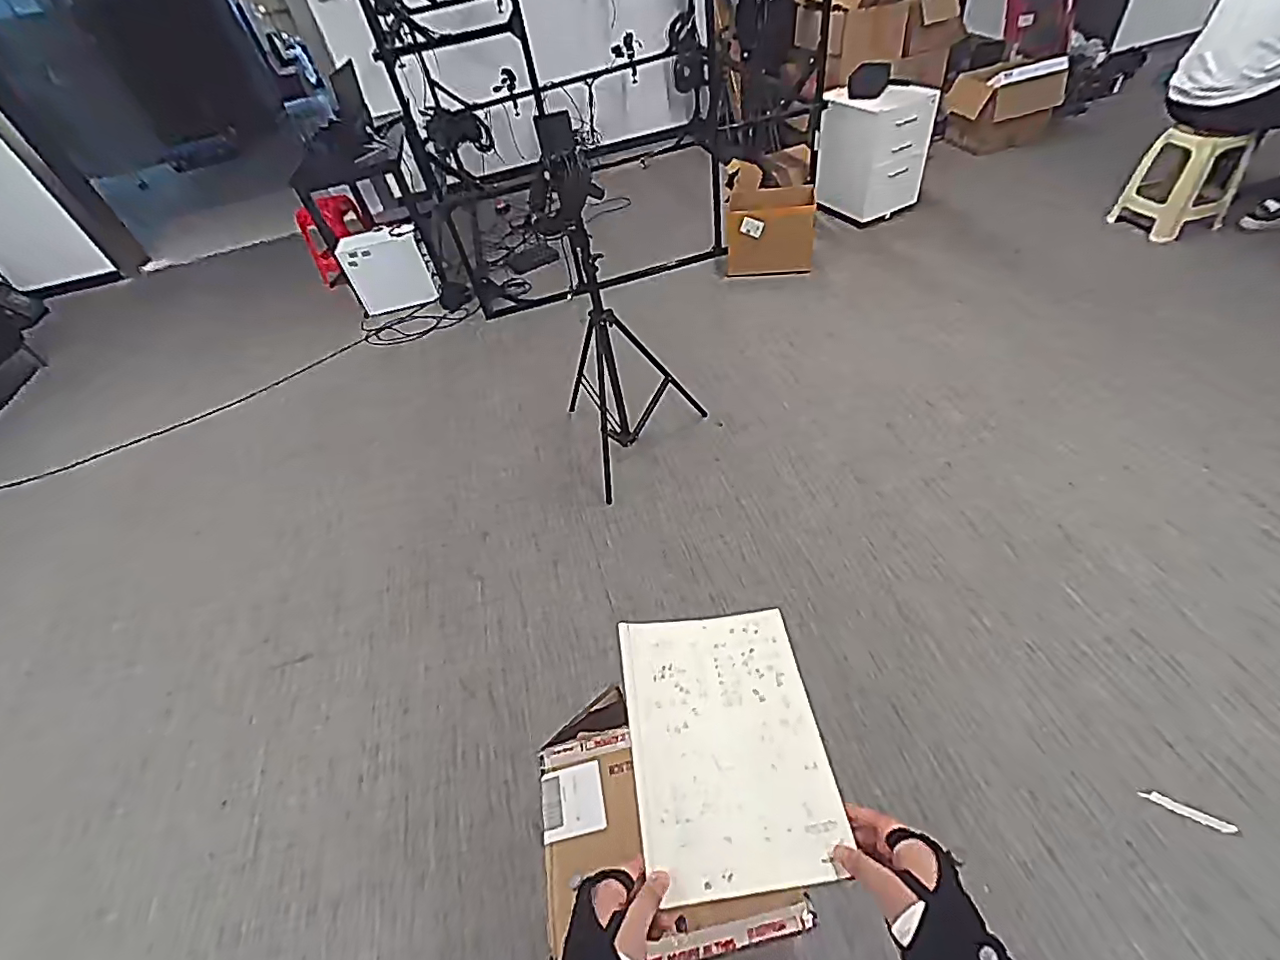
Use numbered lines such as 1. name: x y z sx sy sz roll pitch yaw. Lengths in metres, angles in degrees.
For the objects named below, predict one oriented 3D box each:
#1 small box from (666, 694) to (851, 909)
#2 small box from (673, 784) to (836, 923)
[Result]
1. small box: 0.136 0.406 0.685 0.168 0.176 0.179 -15 47 -5
2. small box: 0.158 0.522 0.798 0.179 0.176 0.168 -17 47 -6
